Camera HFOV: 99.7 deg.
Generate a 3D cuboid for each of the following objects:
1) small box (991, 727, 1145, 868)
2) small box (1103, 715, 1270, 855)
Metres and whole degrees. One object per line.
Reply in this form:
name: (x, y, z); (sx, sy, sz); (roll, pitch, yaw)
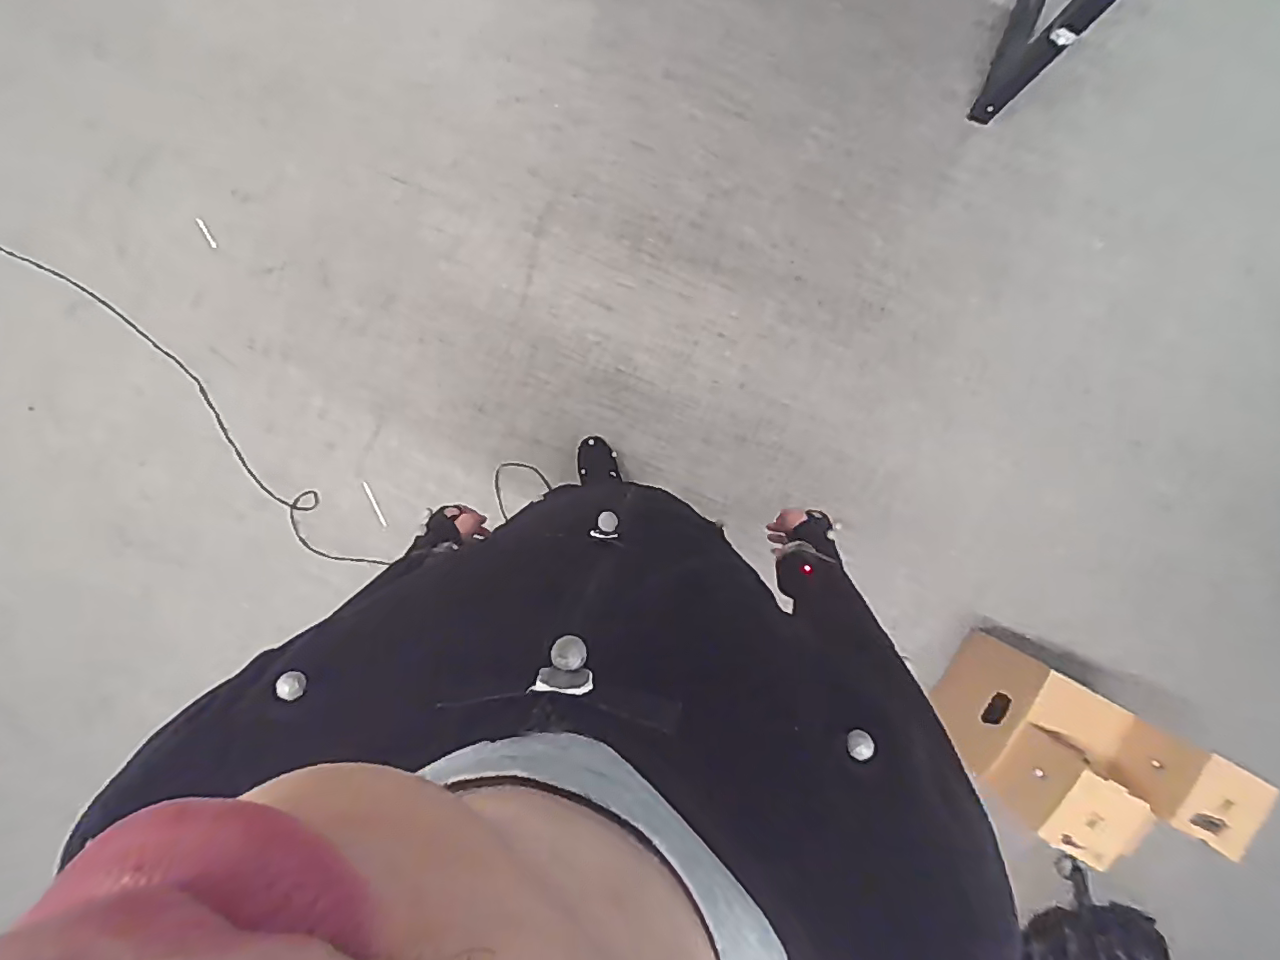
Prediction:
small box: (0.930, 0.688, 1.194); (0.168, 0.176, 0.179); (30, 94, -3)
small box: (1.191, 0.663, 1.196); (0.168, 0.176, 0.179); (30, 90, -2)
